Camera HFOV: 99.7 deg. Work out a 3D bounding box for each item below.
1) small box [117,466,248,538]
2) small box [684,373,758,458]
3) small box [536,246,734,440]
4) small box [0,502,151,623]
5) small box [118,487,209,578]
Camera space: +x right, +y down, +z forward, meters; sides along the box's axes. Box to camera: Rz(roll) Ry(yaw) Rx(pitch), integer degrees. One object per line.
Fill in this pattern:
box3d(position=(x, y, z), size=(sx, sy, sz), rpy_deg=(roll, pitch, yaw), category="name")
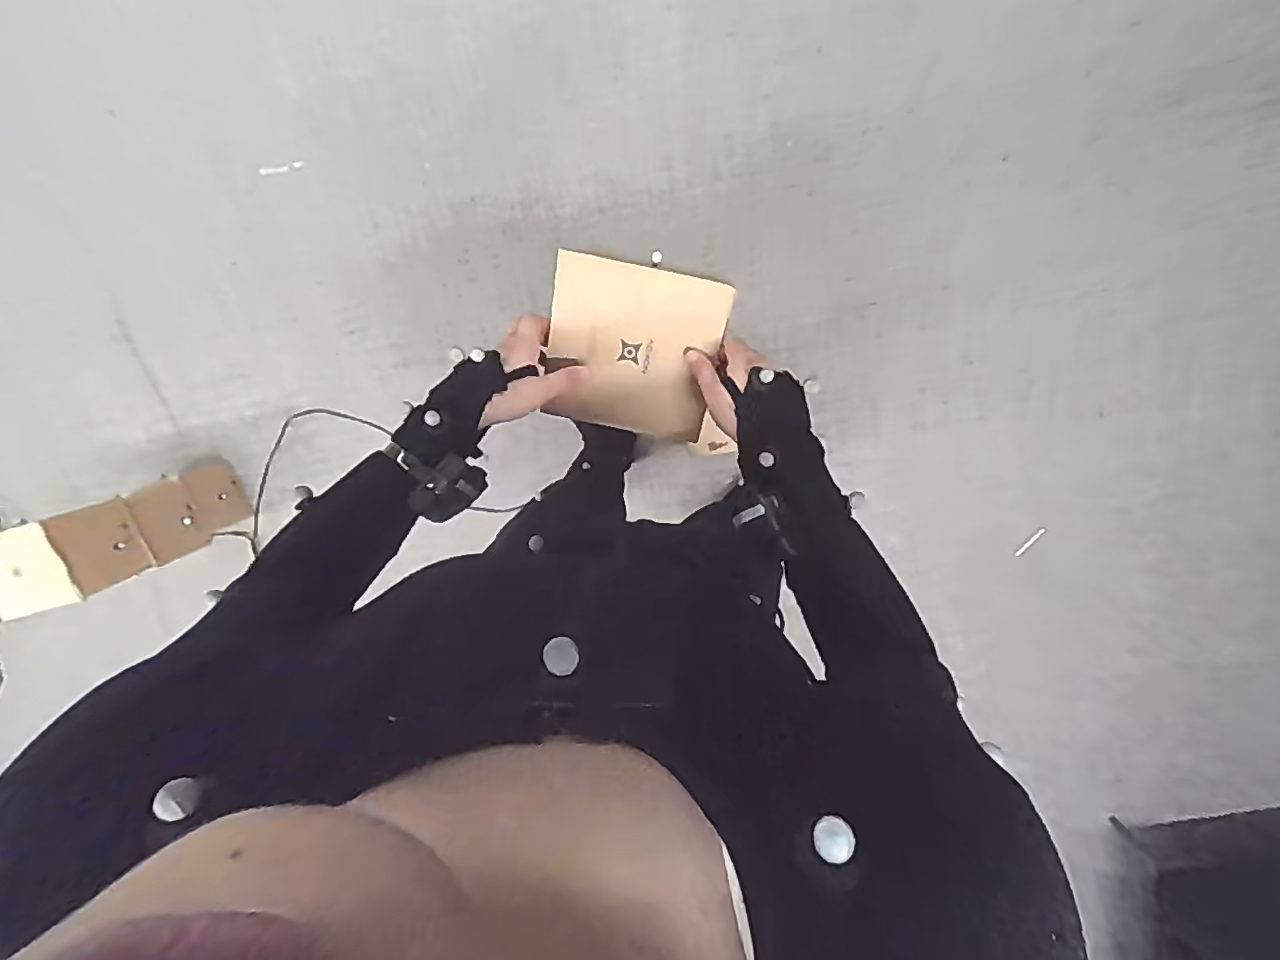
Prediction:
box3d(position=(-1.177, 0.075, 1.413), size=(0.179, 0.176, 0.168), rpy_deg=(-19, 102, 6), category="small box")
box3d(position=(0.183, -0.164, 1.332), size=(0.168, 0.176, 0.179), rpy_deg=(-10, 103, 3), category="small box")
box3d(position=(-0.007, -0.162, 0.612), size=(0.179, 0.176, 0.168), rpy_deg=(11, 114, -2), category="small box")
box3d(position=(-1.171, 0.160, 1.098), size=(0.179, 0.176, 0.168), rpy_deg=(-16, 103, 4), category="small box")
box3d(position=(-1.171, 0.129, 1.258), size=(0.179, 0.176, 0.168), rpy_deg=(-15, 103, 4), category="small box")
